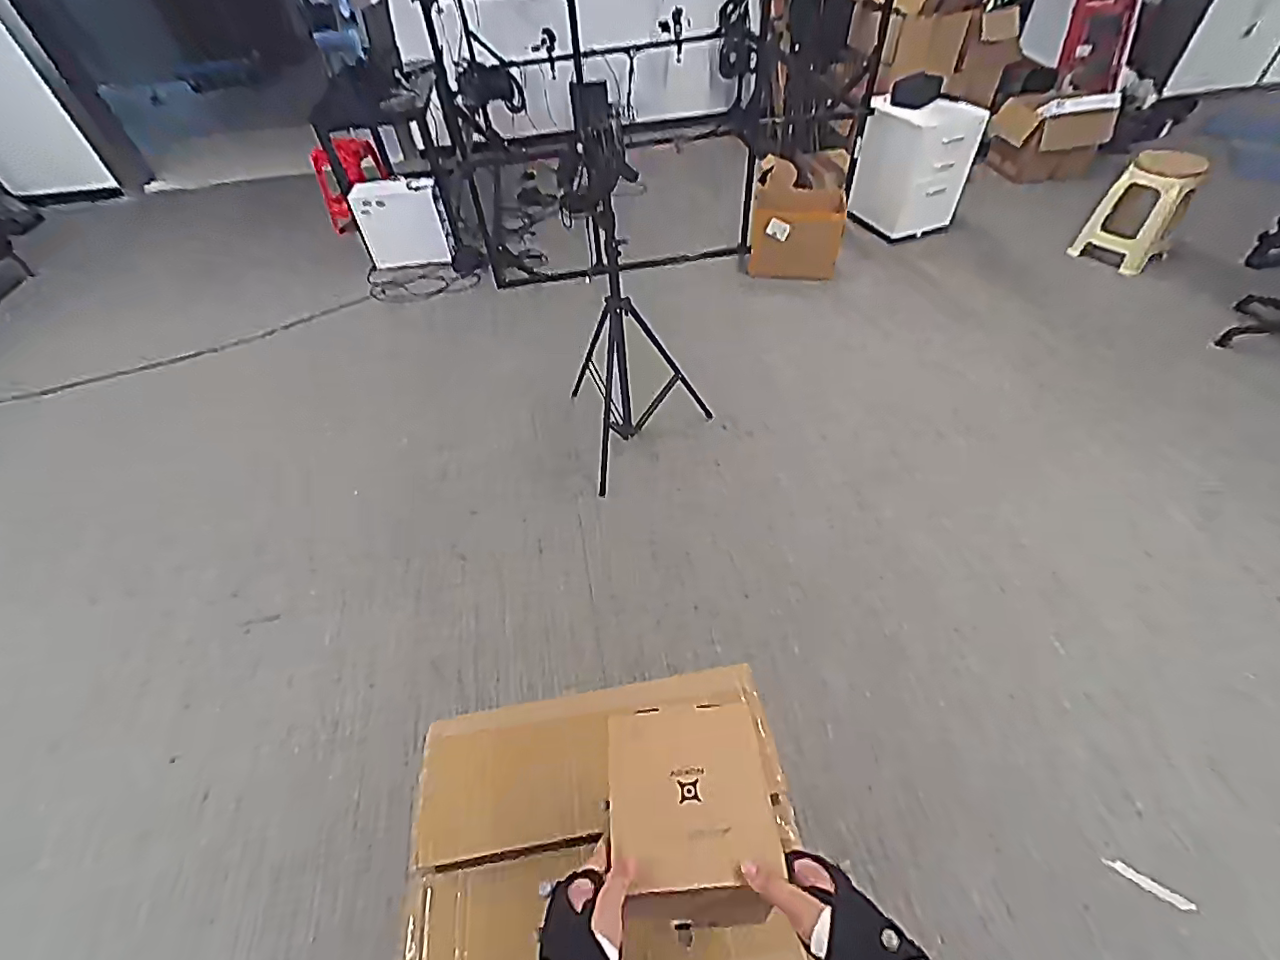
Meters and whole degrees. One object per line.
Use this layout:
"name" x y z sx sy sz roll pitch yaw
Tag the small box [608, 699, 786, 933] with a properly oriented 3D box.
"small box" 0.049 0.376 0.611 0.168 0.176 0.179 -4 40 -3
